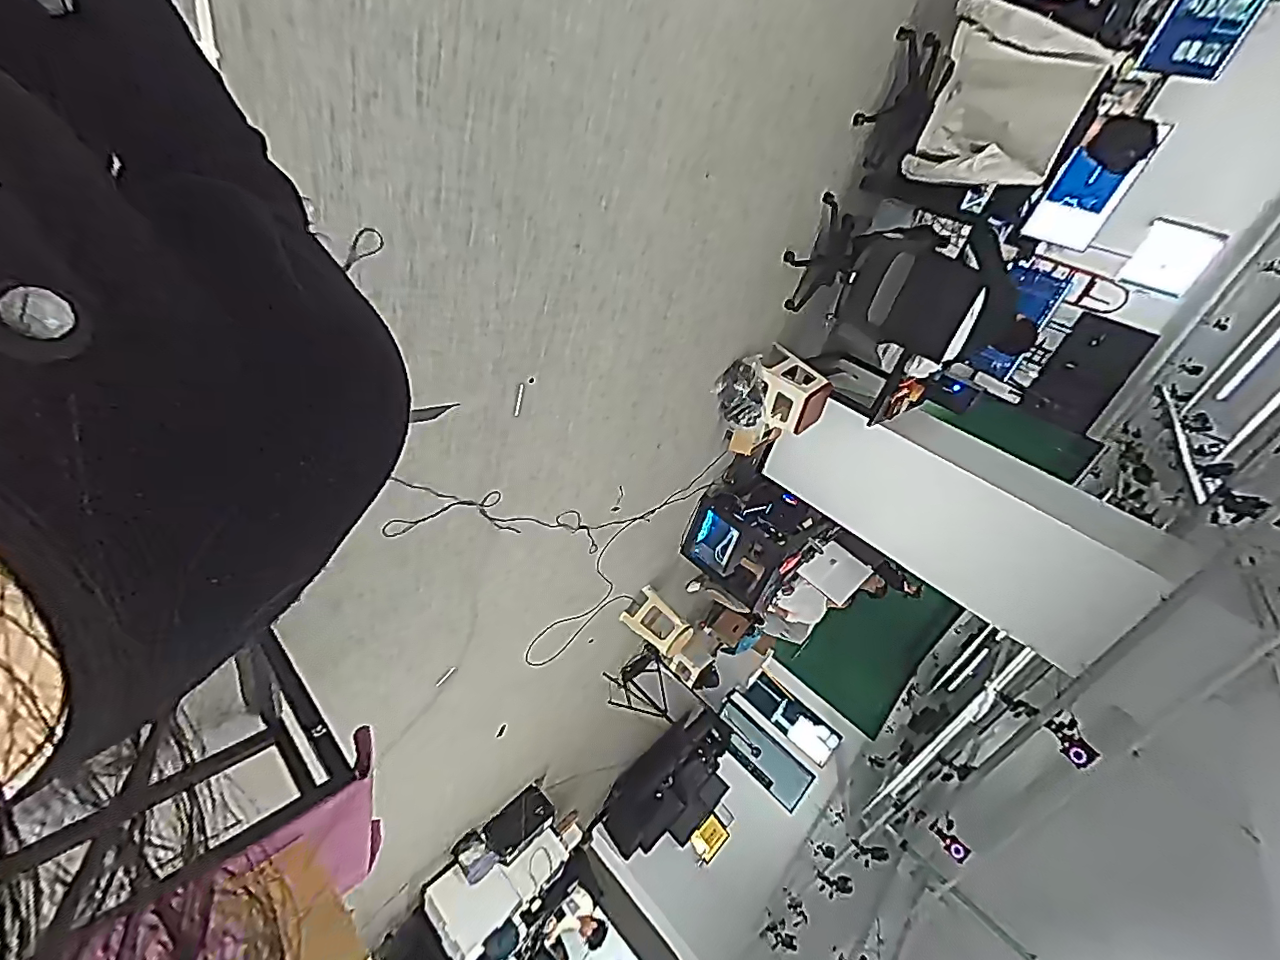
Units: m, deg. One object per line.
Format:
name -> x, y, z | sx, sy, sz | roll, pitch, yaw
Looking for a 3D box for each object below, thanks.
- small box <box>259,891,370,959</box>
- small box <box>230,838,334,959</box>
small box -> -0.743, 1.106, 1.237 | 0.179, 0.176, 0.168 | -25, 144, -44
small box -> -0.859, 1.019, 1.309 | 0.168, 0.176, 0.179 | -24, 141, -45
